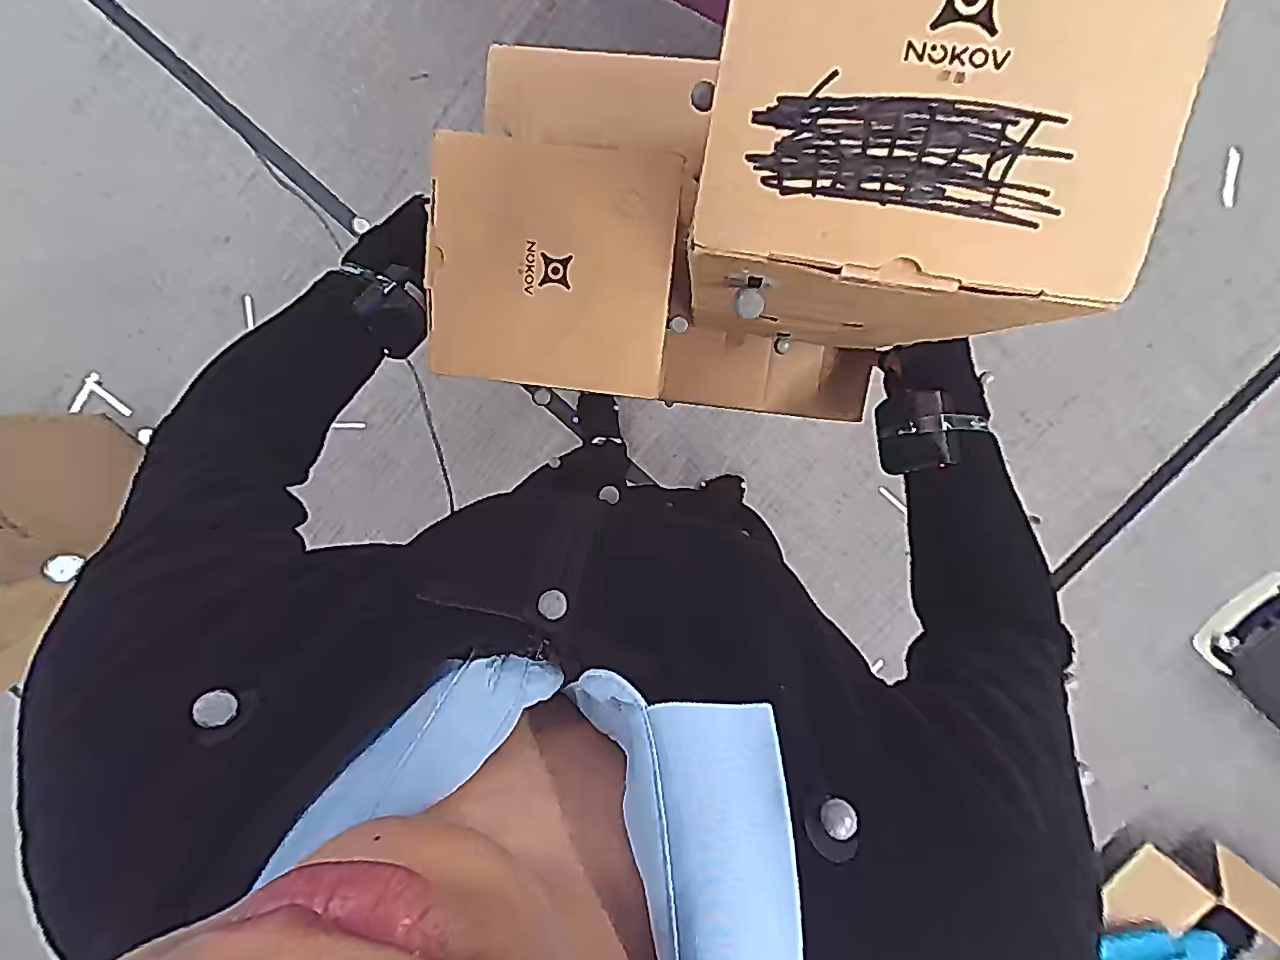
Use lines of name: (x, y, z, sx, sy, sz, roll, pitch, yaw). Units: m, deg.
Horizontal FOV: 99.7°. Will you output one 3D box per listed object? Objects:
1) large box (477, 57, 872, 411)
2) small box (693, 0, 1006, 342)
large box: (0.052, -0.264, 0.671, 0.408, 0.320, 0.320, 6, 100, 5)
small box: (0.135, -0.213, 0.421, 0.168, 0.176, 0.179, 9, 101, 5)
